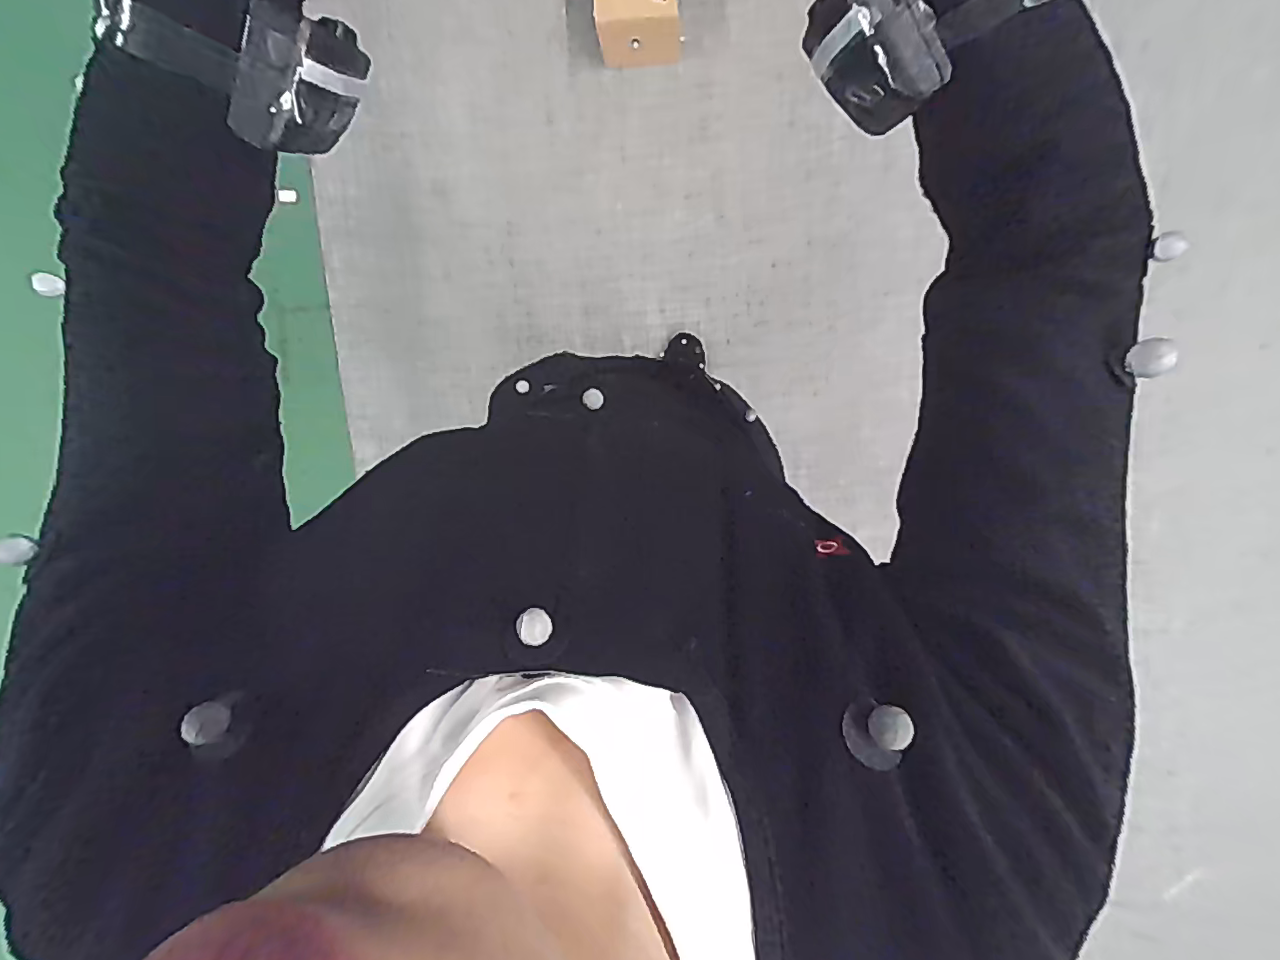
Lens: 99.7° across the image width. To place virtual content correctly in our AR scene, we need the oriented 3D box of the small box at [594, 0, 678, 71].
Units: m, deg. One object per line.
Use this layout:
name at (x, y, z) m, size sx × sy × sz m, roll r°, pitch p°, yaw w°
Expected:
small box at (-0.005, -1.052, 1.204) m, size 0.179 × 0.176 × 0.168 m, roll -1°, pitch 98°, yaw 5°
